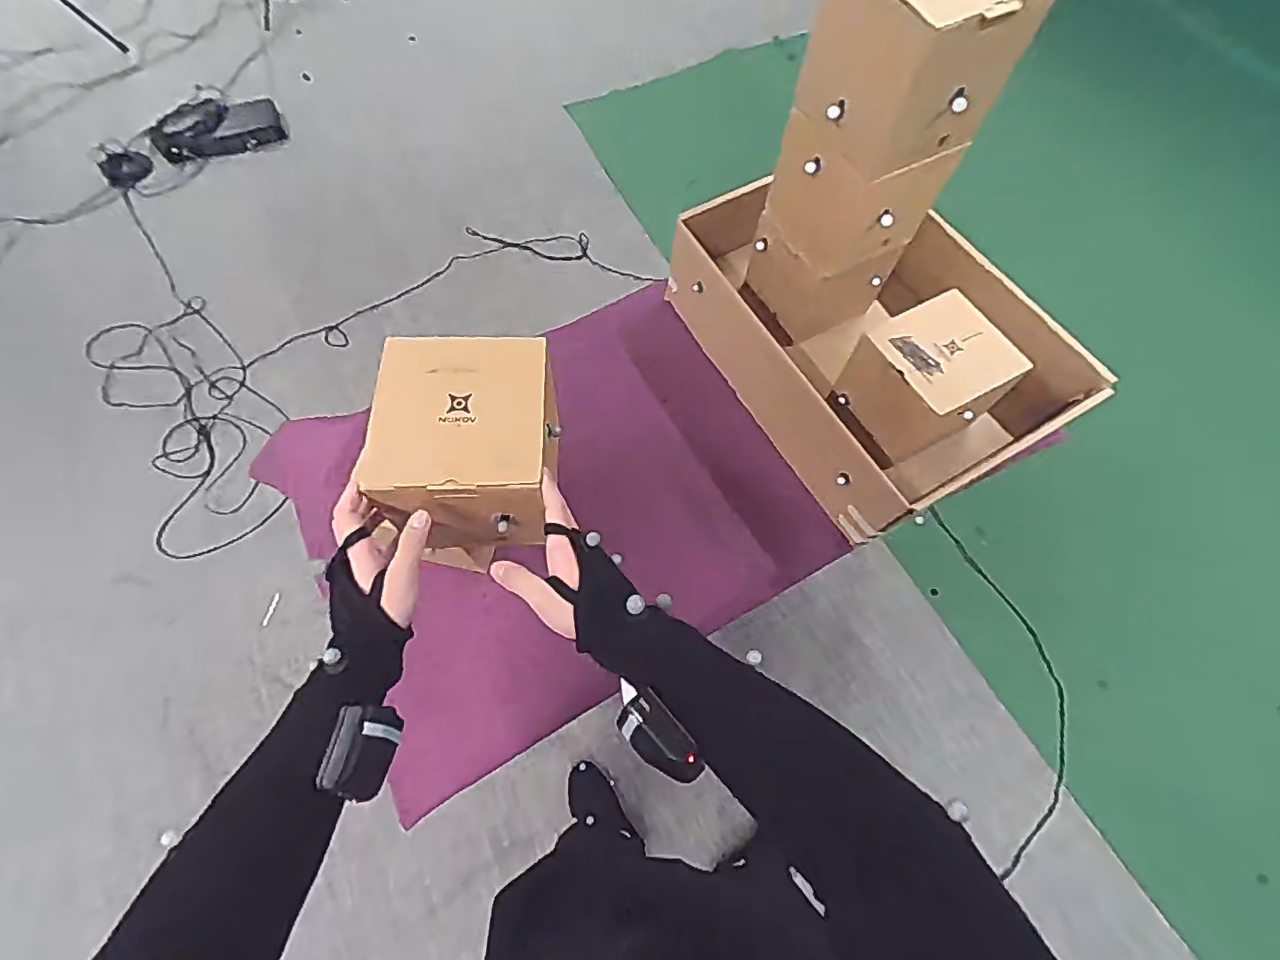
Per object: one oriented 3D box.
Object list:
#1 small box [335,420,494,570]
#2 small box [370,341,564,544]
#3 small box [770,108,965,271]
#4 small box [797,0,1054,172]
[{"bbox_3d":[-0.306,0.028,0.816,0.179,0.176,0.168,12,66,4],"label":"small box"},{"bbox_3d":[-0.171,-0.032,0.597,0.168,0.176,0.179,-1,64,-5],"label":"small box"},{"bbox_3d":[0.317,-0.437,0.796,0.168,0.176,0.179,-26,69,-11],"label":"small box"},{"bbox_3d":[0.318,-0.503,0.645,0.168,0.176,0.179,-25,70,-11],"label":"small box"}]
